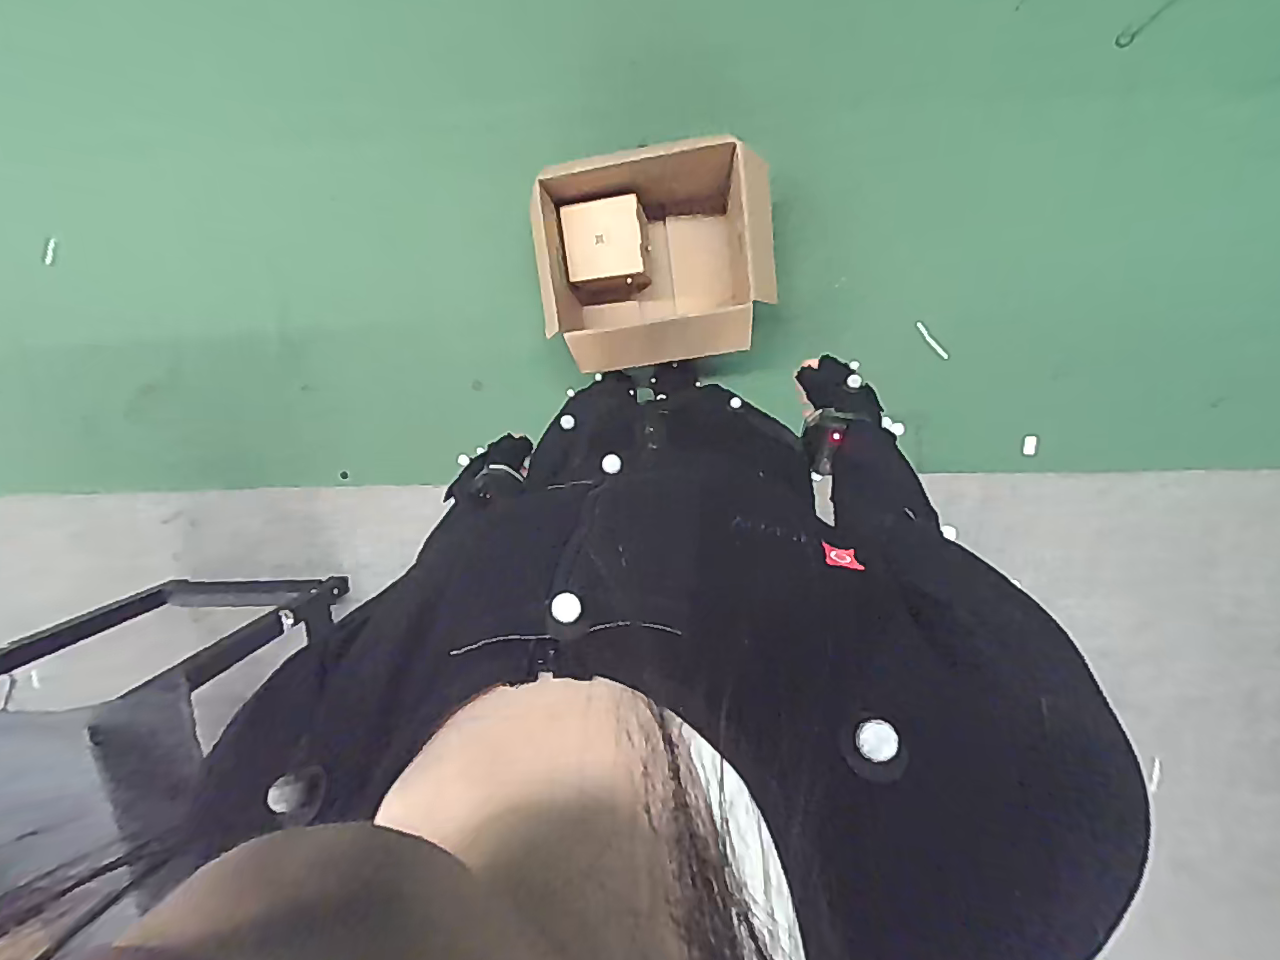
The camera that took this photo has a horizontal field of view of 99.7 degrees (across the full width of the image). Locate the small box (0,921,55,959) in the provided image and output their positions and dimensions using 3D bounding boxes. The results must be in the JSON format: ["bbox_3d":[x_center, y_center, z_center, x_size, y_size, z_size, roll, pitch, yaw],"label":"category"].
[{"bbox_3d":[-1.171,0.906,0.933,0.179,0.176,0.168,-3,100,6],"label":"small box"}]
